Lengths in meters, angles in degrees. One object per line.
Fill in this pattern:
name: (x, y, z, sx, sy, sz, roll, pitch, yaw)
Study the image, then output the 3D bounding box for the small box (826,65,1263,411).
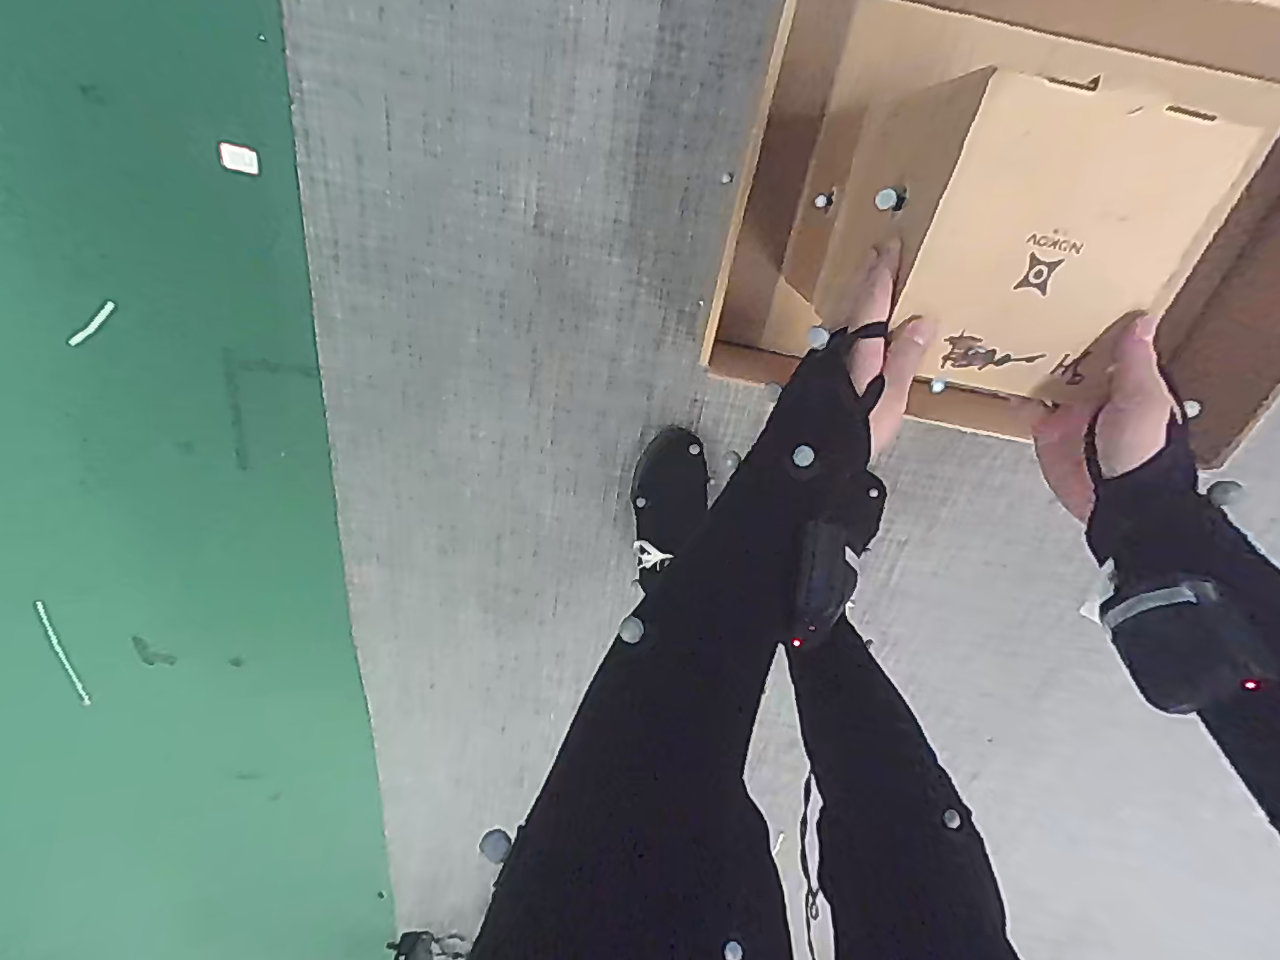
small box: (0.262, -0.177, 0.411, 0.168, 0.176, 0.179, 11, 119, -3)
